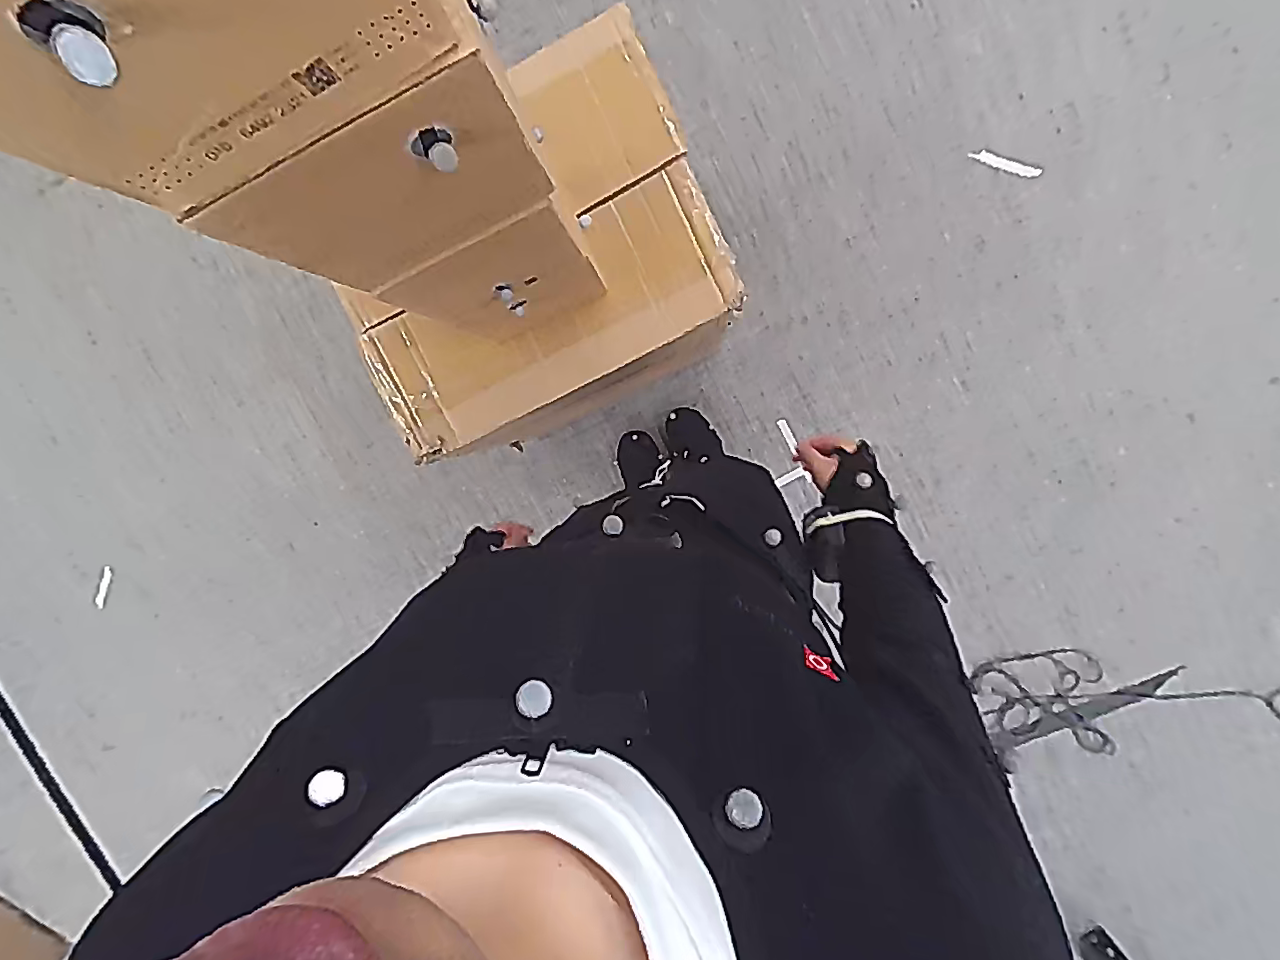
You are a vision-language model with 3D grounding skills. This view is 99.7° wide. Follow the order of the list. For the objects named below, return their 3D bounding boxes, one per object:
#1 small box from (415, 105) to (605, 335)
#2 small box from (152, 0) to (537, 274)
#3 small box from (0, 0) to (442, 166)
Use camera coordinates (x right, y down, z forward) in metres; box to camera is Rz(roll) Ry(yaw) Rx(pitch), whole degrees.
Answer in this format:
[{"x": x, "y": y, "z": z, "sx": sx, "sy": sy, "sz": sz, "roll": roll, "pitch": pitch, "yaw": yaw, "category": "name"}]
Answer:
[{"x": -0.159, "y": -0.291, "z": 0.652, "sx": 0.179, "sy": 0.176, "sz": 0.168, "roll": -24, "pitch": 95, "yaw": 6, "category": "small box"}, {"x": -0.178, "y": -0.252, "z": 0.326, "sx": 0.179, "sy": 0.176, "sz": 0.168, "roll": -24, "pitch": 95, "yaw": 7, "category": "small box"}, {"x": -0.194, "y": -0.233, "z": 0.165, "sx": 0.168, "sy": 0.176, "sz": 0.179, "roll": -26, "pitch": 95, "yaw": 7, "category": "small box"}]
